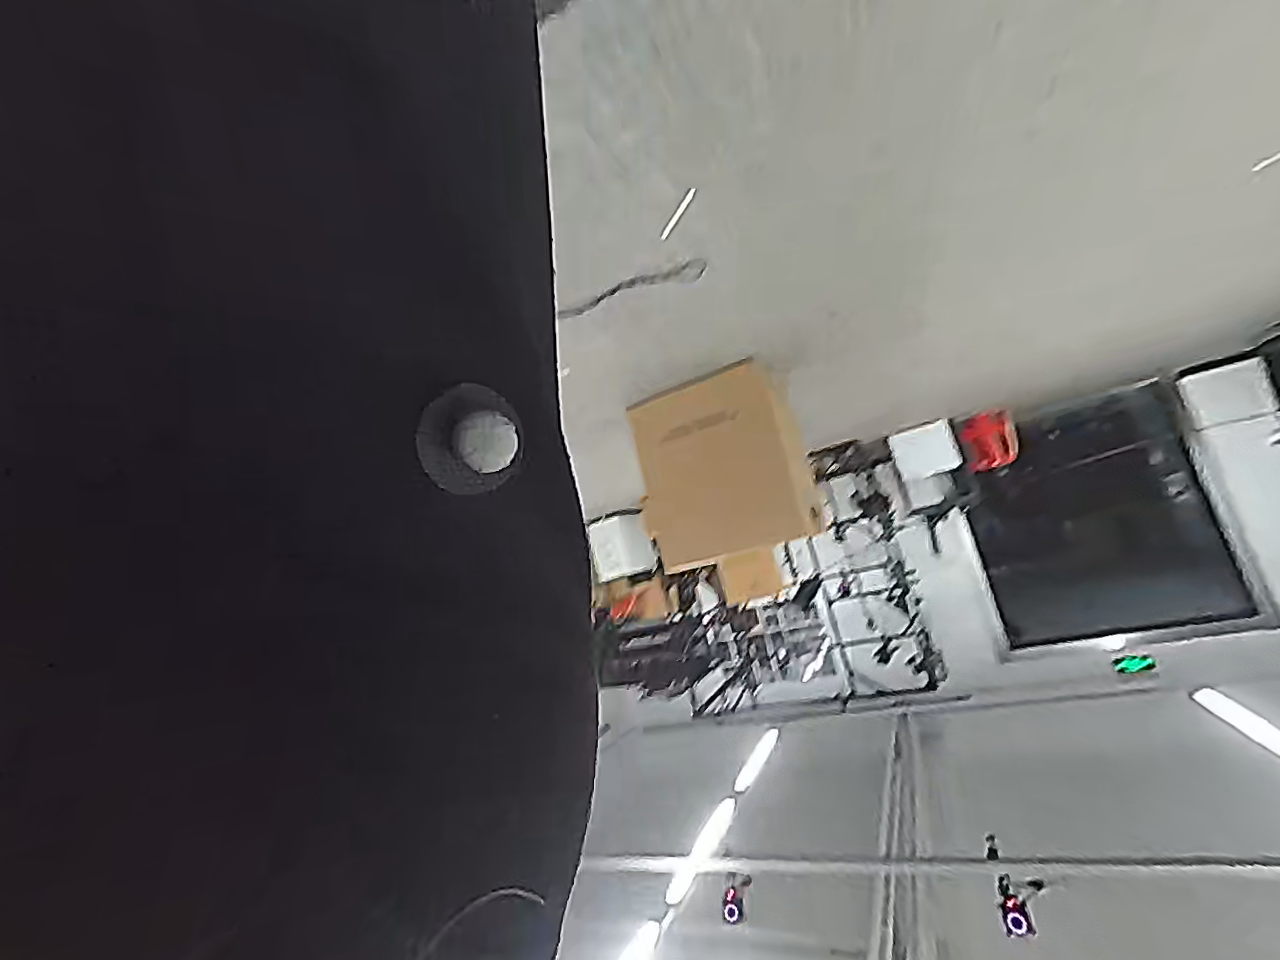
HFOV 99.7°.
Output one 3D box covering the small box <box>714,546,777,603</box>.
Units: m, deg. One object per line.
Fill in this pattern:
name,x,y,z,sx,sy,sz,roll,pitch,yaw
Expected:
small box,0.382,0.340,1.966,0.179,0.176,0.168,-19,170,21
